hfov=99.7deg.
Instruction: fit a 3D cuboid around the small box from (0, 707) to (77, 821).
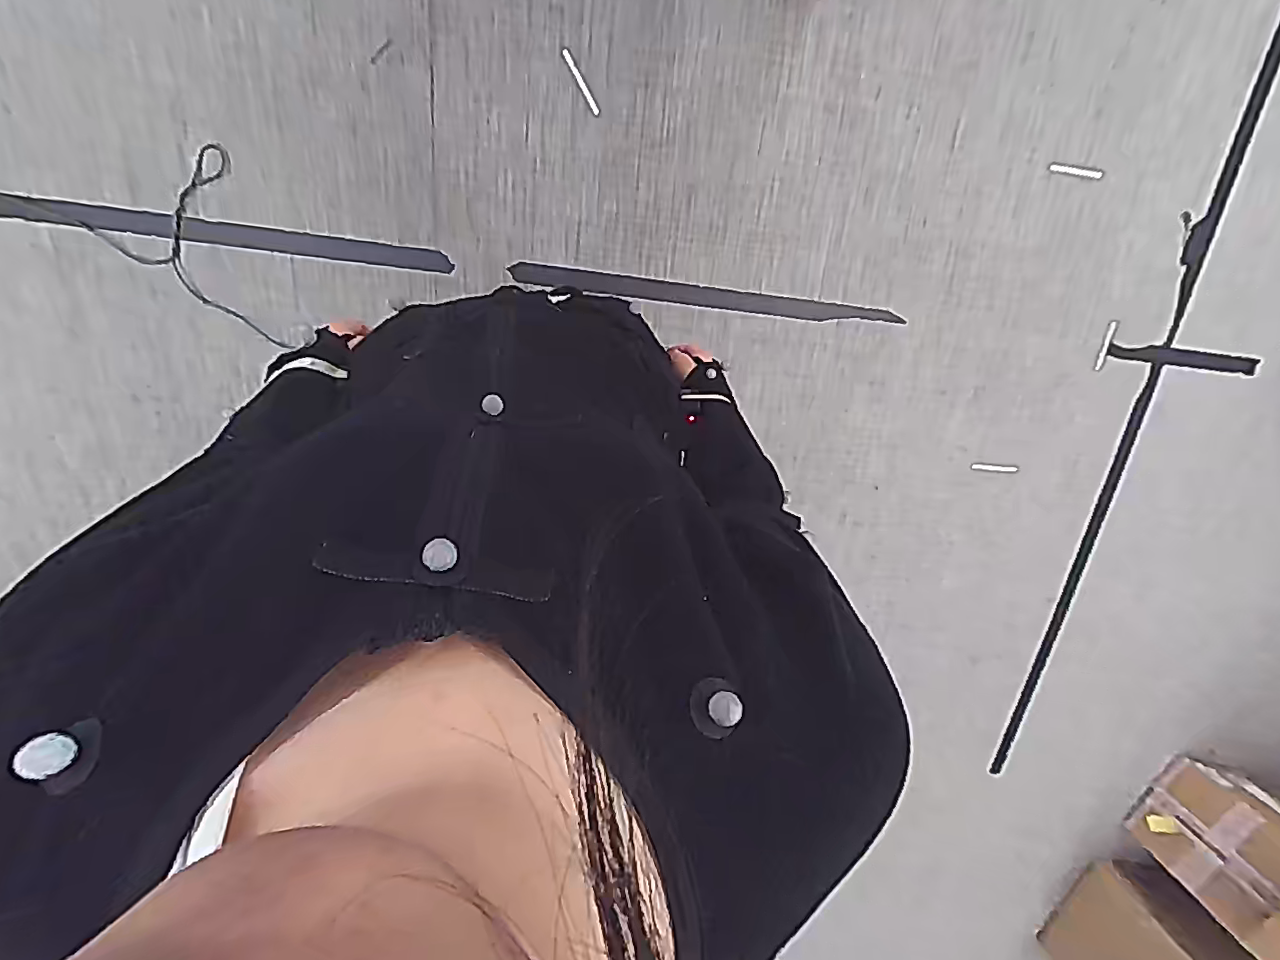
[{"bbox_3d":[-1.412,0.635,1.171,0.168,0.176,0.179,-35,108,5],"label":"small box"}]
